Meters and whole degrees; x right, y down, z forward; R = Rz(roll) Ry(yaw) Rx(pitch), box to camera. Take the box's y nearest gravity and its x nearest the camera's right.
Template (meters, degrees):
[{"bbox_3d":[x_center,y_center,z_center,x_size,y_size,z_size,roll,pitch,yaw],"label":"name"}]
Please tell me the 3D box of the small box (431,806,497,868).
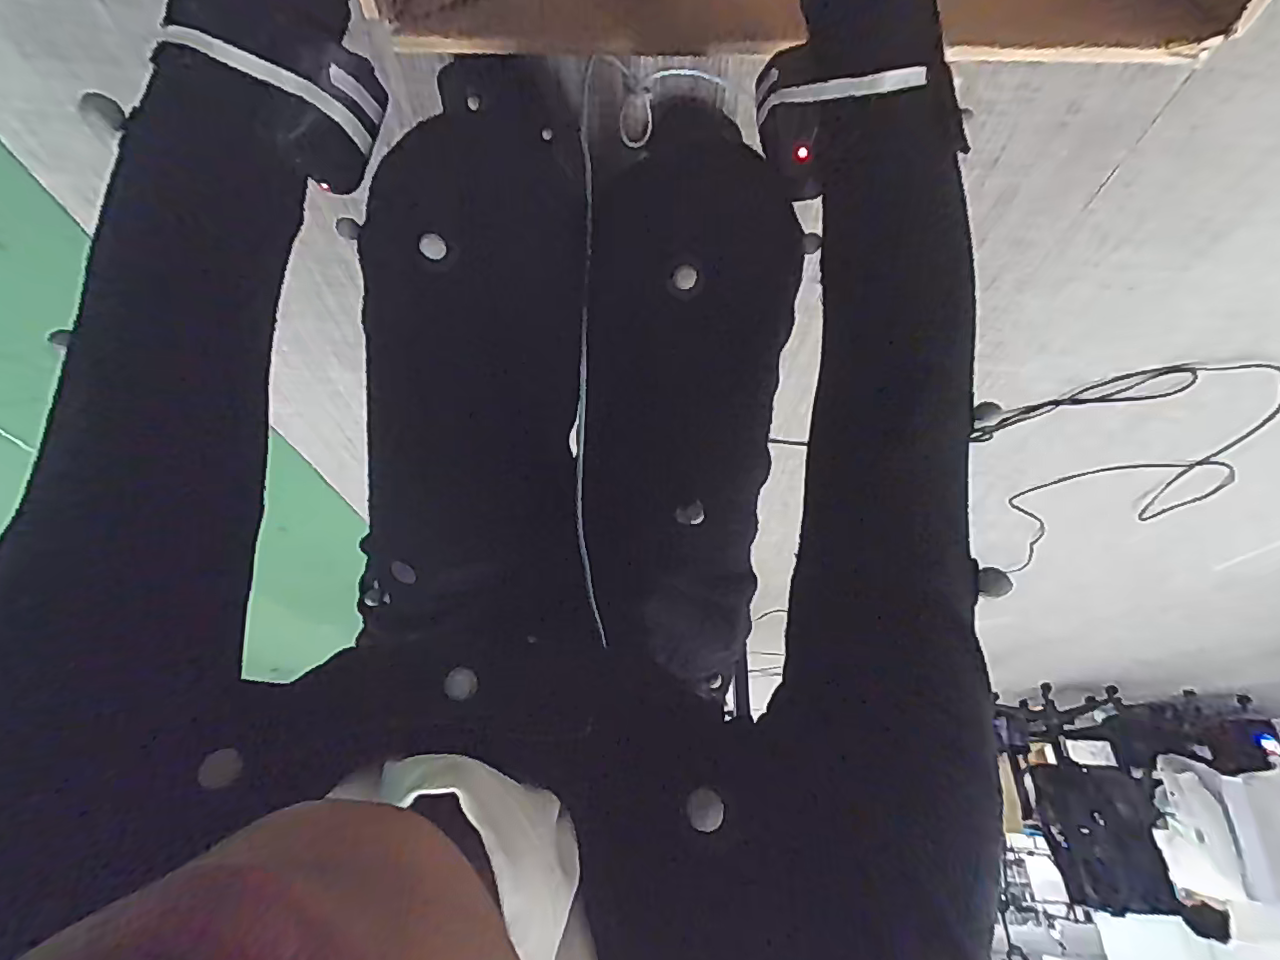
[{"bbox_3d":[-0.614,1.256,1.911,0.168,0.176,0.179,1,150,0],"label":"small box"}]
